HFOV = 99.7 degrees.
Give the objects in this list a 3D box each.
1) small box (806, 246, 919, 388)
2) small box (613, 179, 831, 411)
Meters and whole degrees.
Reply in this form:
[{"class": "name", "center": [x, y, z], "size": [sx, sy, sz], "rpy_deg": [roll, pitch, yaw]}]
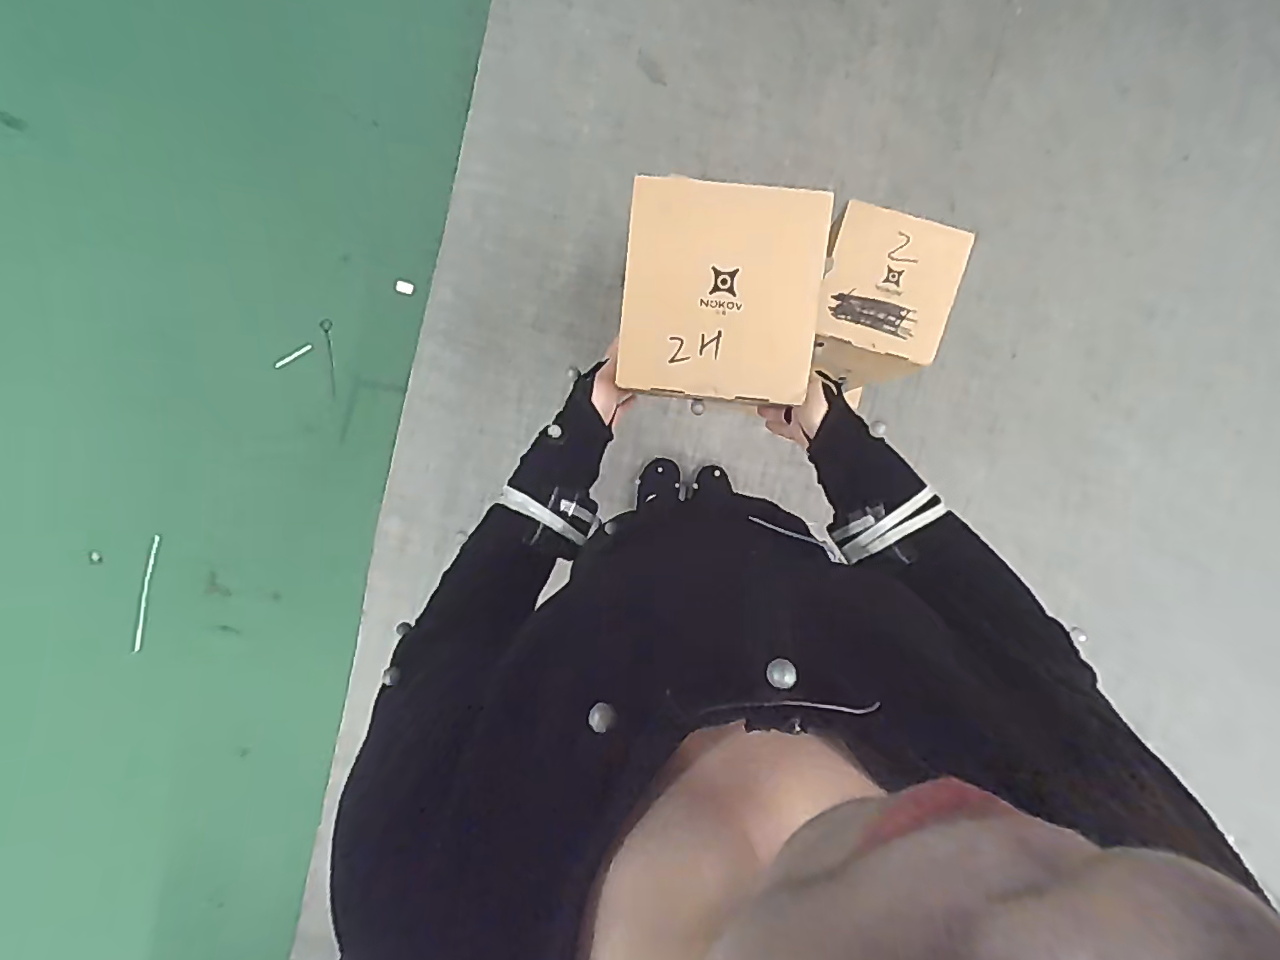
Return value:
[{"class": "small box", "center": [0.338, -0.267, 0.927], "size": [0.168, 0.176, 0.179], "rpy_deg": [17, 94, 3]}, {"class": "small box", "center": [0.070, -0.164, 0.531], "size": [0.168, 0.176, 0.179], "rpy_deg": [7, 99, 3]}]
